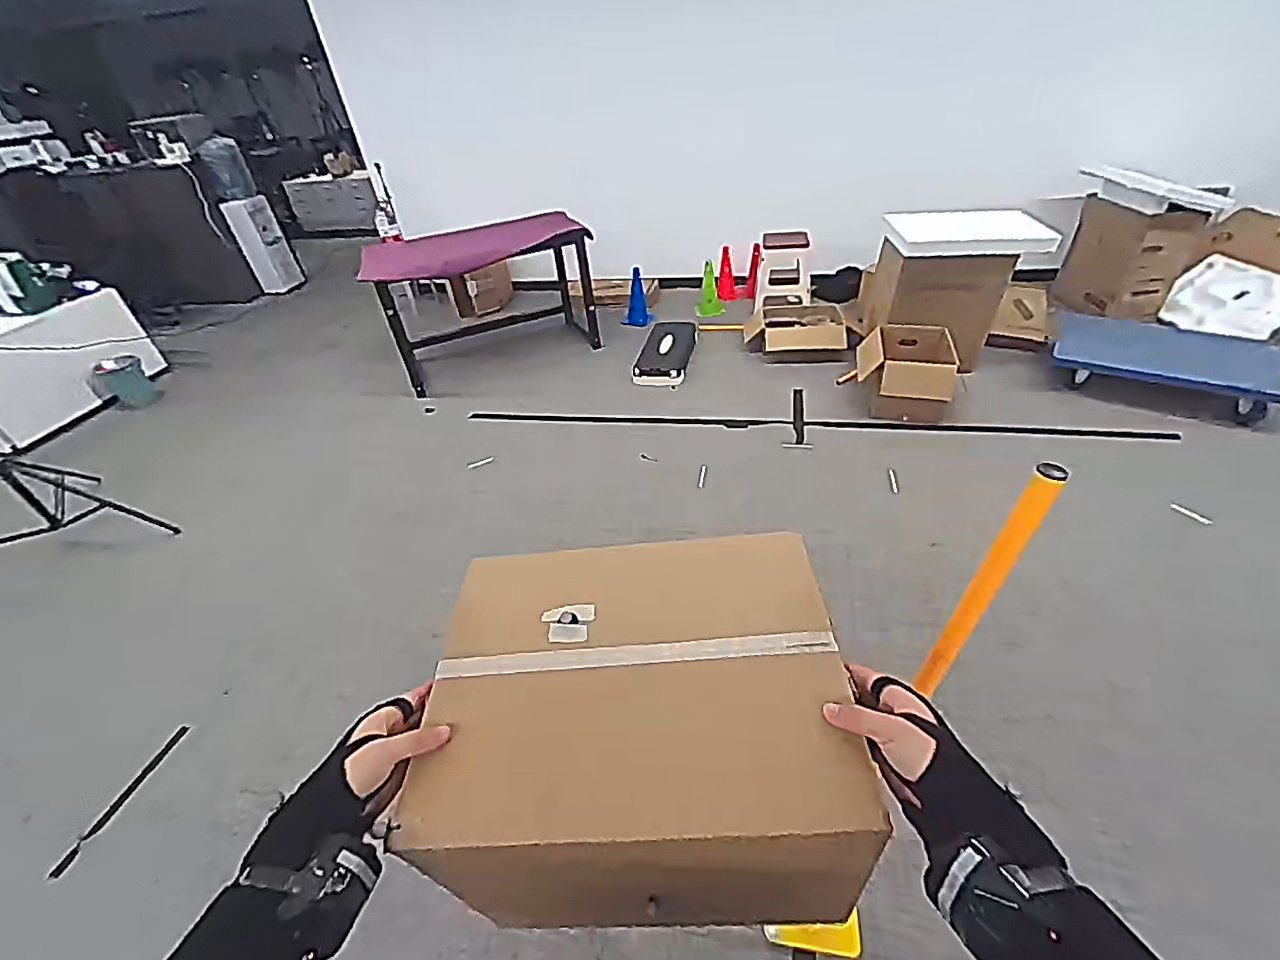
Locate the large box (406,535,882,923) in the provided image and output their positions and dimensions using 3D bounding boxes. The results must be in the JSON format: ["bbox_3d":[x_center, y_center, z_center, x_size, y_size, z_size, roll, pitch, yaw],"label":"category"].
[{"bbox_3d":[0.016,0.300,0.649,0.408,0.320,0.320,-7,40,5],"label":"large box"}]
